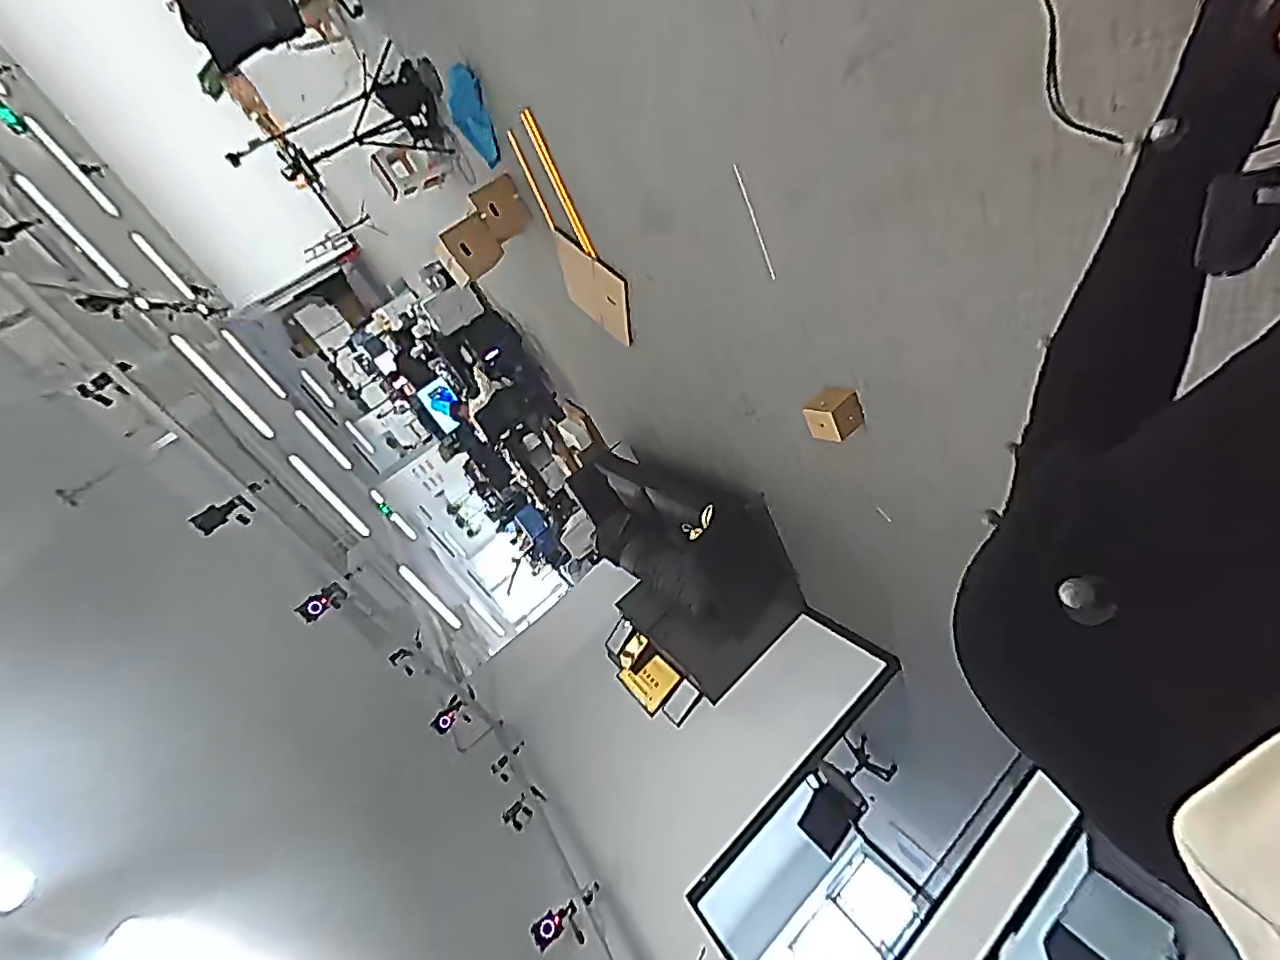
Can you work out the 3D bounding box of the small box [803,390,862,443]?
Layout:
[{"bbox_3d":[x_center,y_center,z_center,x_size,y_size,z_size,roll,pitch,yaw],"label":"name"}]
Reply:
[{"bbox_3d":[0.881,-0.293,2.453,0.179,0.176,0.168,23,148,59],"label":"small box"}]
